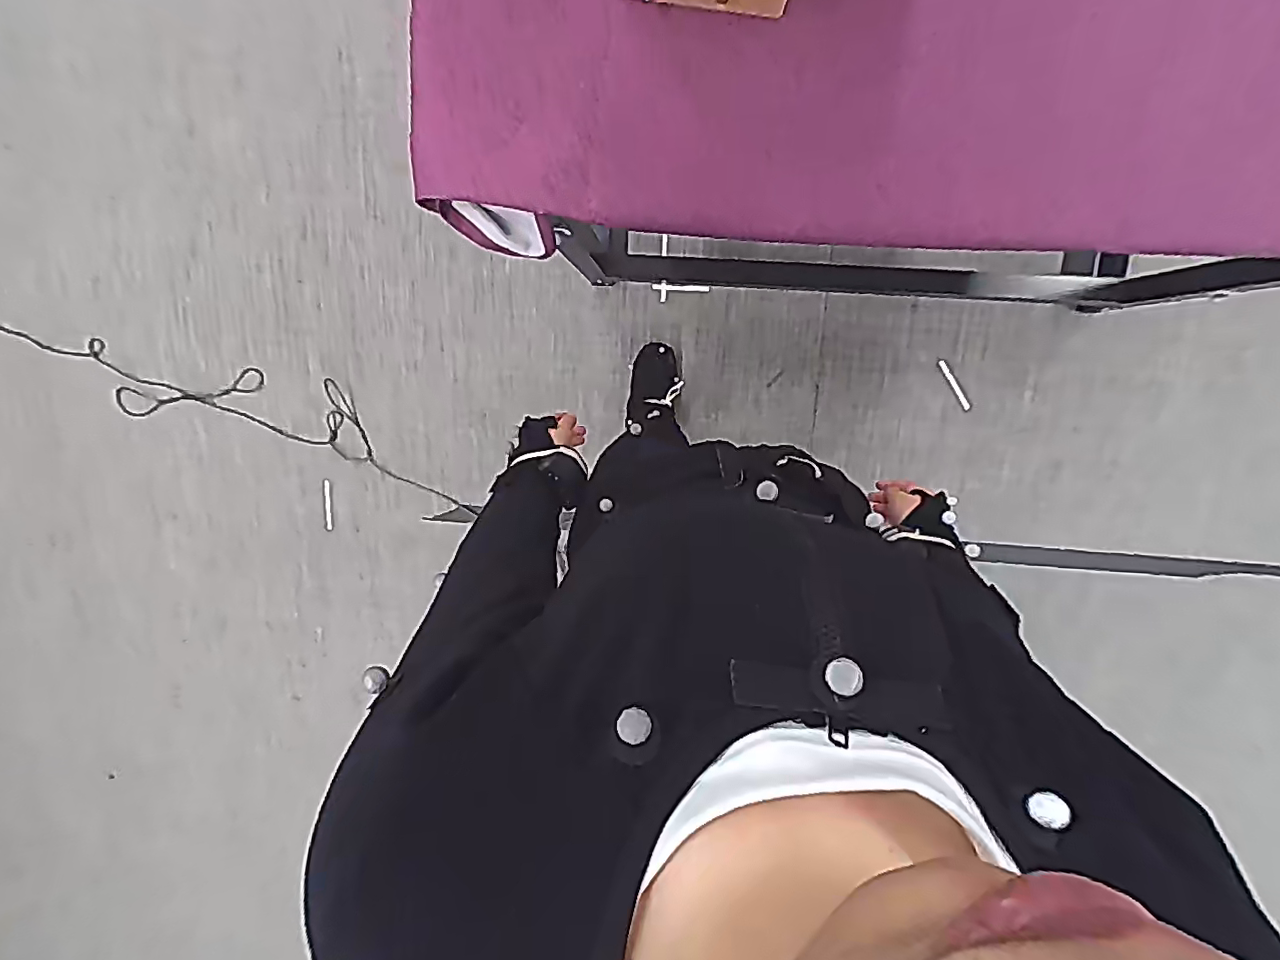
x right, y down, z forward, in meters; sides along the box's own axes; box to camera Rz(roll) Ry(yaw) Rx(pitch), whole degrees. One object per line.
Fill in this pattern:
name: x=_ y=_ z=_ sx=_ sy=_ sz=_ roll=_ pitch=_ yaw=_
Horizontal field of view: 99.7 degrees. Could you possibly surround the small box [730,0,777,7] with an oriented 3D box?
small box: x=0.068 y=-0.545 z=0.447 sx=0.168 sy=0.176 sz=0.179 roll=9 pitch=102 yaw=1
